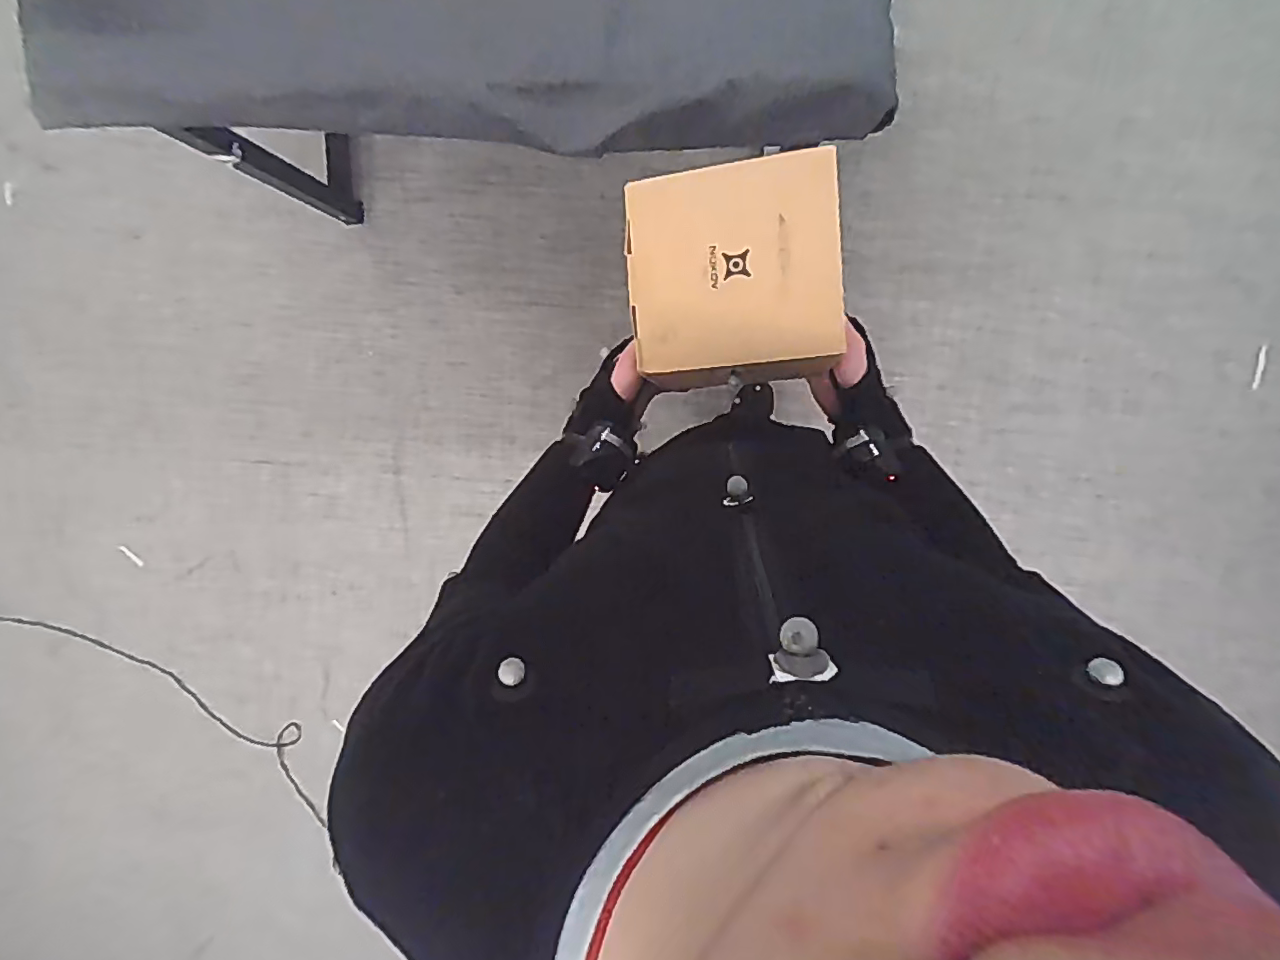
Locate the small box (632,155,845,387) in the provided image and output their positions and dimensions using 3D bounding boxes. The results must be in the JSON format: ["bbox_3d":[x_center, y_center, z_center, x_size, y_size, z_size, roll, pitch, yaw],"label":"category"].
[{"bbox_3d":[0.098,-0.187,0.541,0.179,0.176,0.168,-3,95,11],"label":"small box"}]
